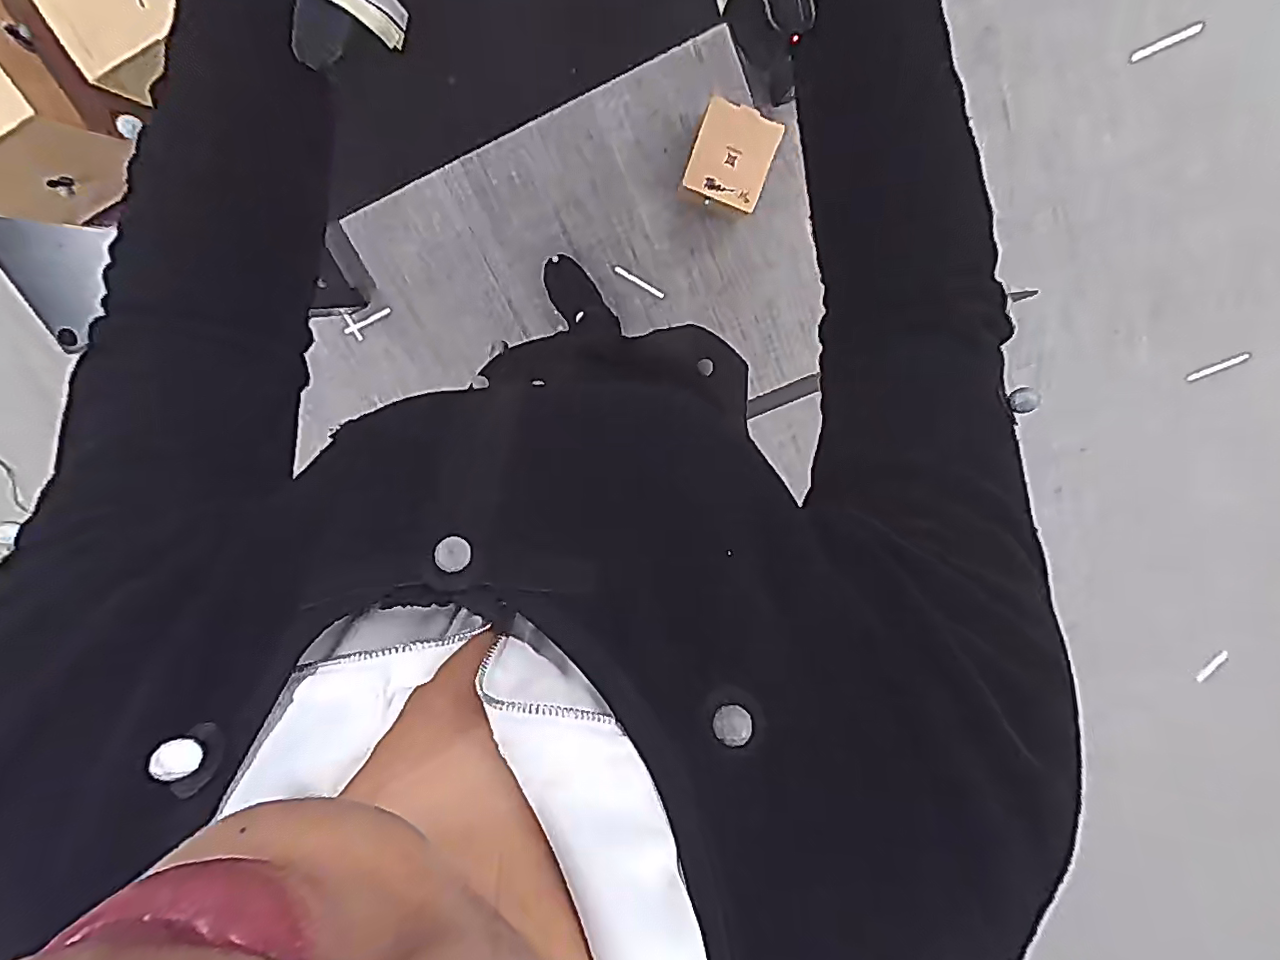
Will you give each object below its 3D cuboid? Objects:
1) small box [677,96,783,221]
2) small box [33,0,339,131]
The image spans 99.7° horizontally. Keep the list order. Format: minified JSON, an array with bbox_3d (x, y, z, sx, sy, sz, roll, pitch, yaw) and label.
[{"bbox_3d":[0.188,-0.699,1.199,0.168,0.176,0.179,19,108,-7],"label":"small box"},{"bbox_3d":[-0.431,-0.468,0.501,0.168,0.176,0.179,-23,108,7],"label":"small box"}]
